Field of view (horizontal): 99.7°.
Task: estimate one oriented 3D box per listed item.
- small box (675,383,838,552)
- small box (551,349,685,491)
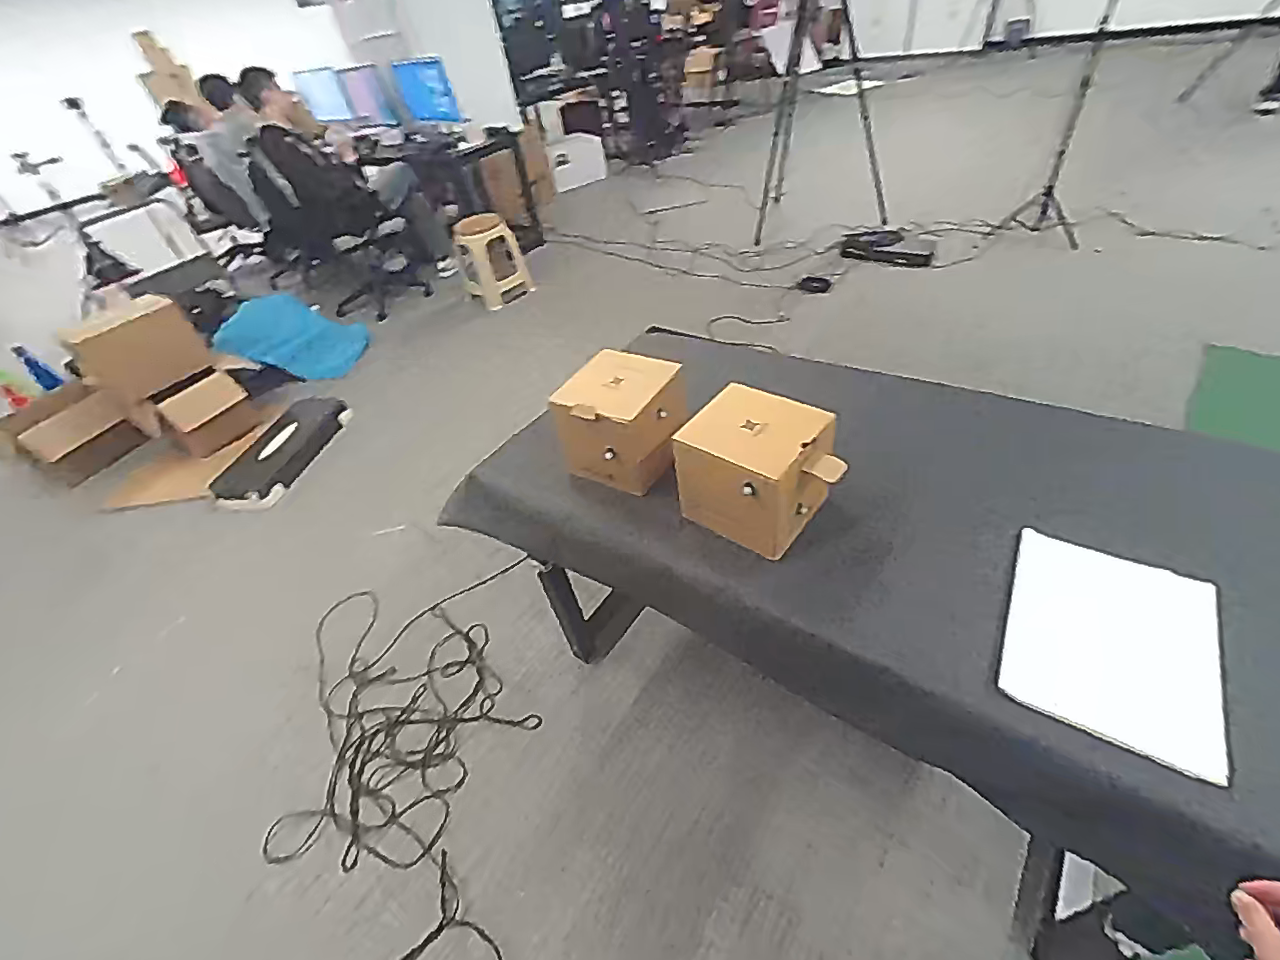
[{"bbox_3d":[0.176,-0.019,0.826,0.179,0.176,0.168,26,53,33],"label":"small box"},{"bbox_3d":[-0.026,-0.107,0.963,0.168,0.176,0.179,18,49,27],"label":"small box"}]
